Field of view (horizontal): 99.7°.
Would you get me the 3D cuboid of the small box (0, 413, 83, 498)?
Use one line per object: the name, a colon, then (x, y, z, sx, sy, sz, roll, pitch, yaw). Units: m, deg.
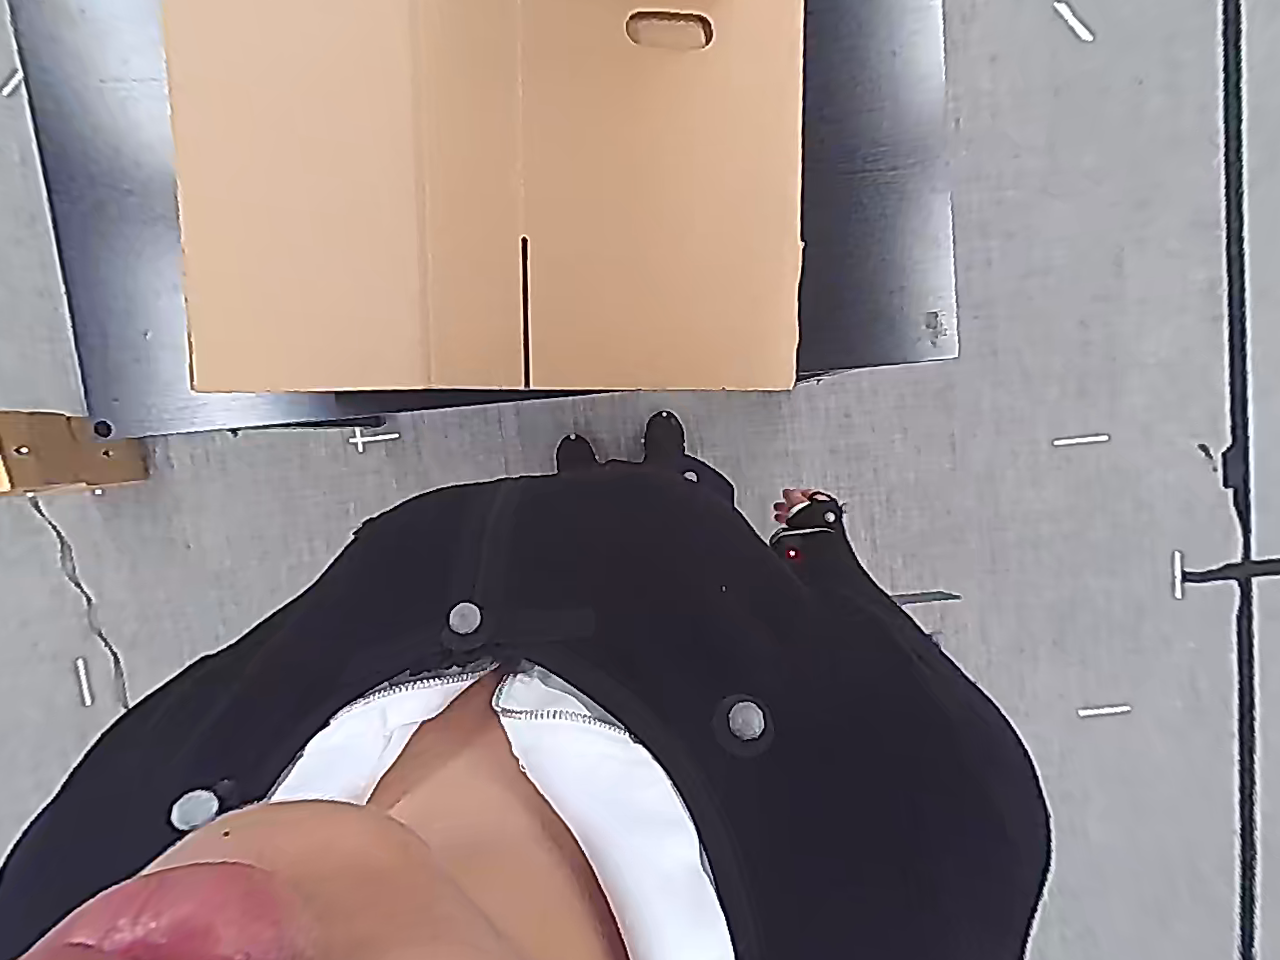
small box: (-1.431, -0.052, 1.222, 0.168, 0.176, 0.179, -12, 94, -1)

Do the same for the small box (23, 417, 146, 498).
small box: (-1.433, -0.060, 1.385, 0.168, 0.176, 0.179, -10, 96, 0)
